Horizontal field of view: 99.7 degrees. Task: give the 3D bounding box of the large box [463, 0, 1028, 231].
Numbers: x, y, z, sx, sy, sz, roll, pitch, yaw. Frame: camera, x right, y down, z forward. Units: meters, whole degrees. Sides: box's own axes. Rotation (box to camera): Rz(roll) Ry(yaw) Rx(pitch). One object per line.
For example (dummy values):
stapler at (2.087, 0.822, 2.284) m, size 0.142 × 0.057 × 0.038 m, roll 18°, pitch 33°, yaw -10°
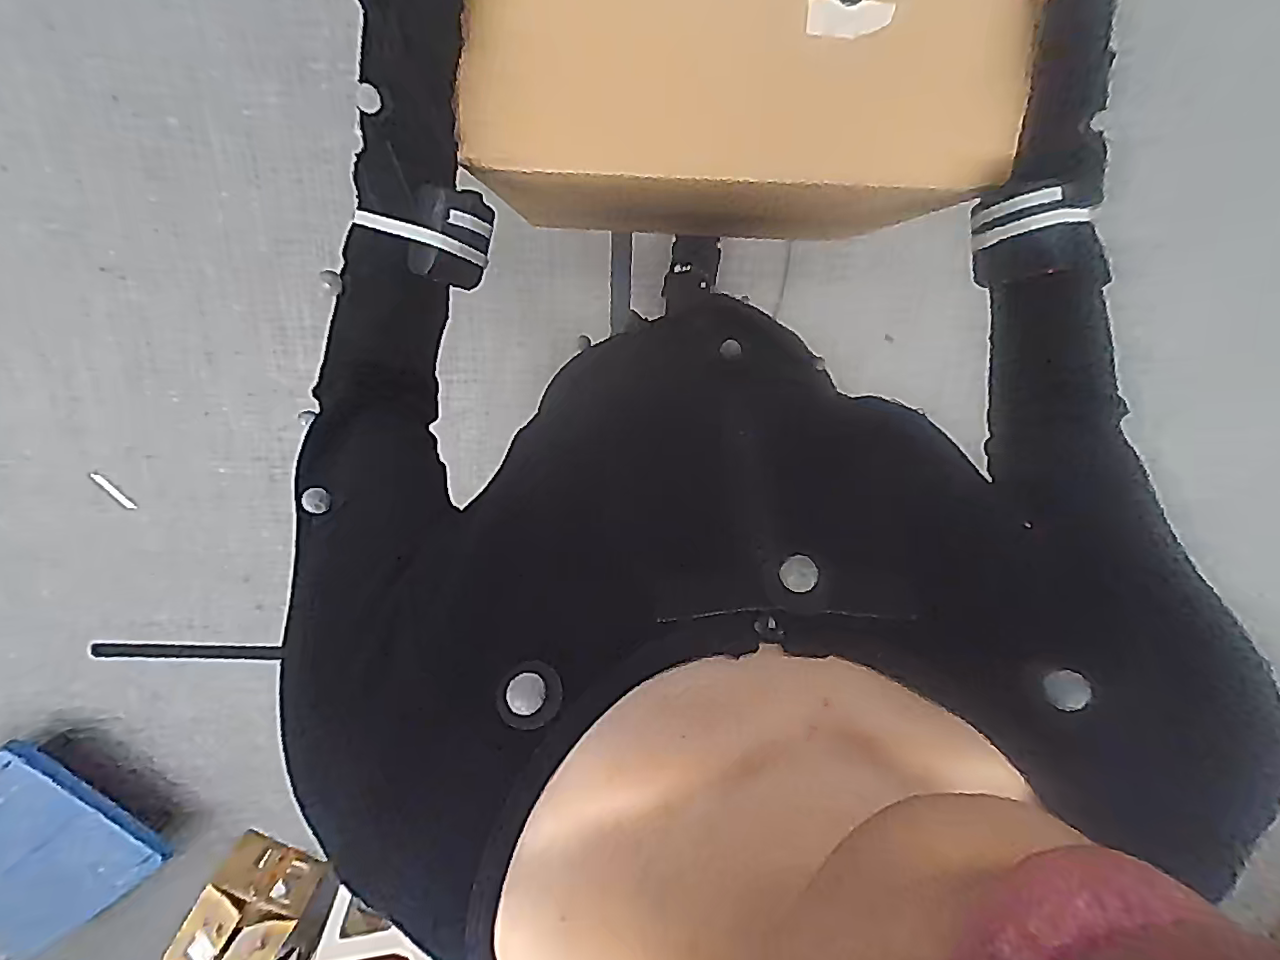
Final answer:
large box at (0.070, -0.425, 0.505) m, size 0.408 × 0.320 × 0.320 m, roll 1°, pitch 107°, yaw -2°
